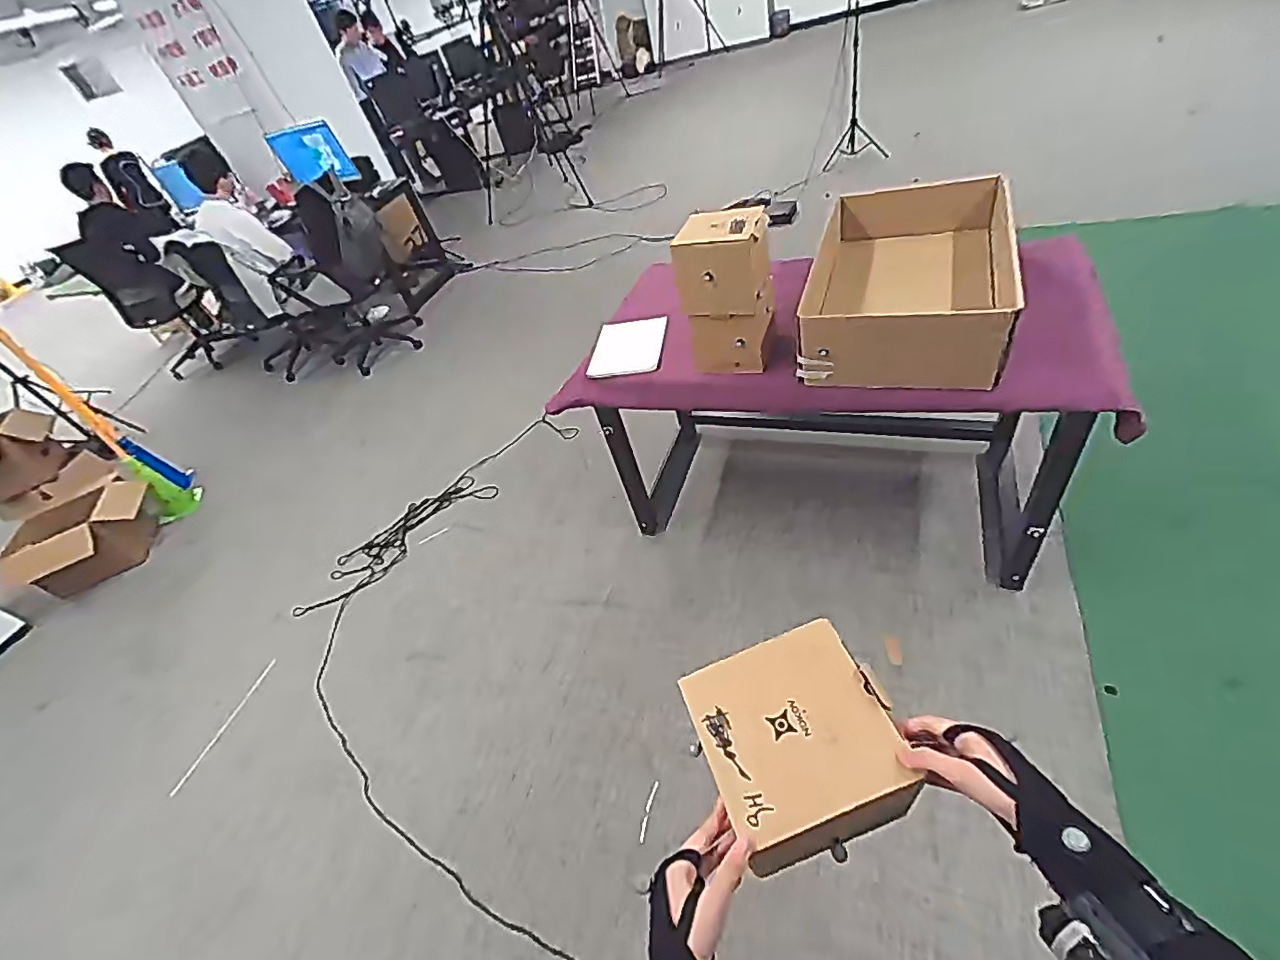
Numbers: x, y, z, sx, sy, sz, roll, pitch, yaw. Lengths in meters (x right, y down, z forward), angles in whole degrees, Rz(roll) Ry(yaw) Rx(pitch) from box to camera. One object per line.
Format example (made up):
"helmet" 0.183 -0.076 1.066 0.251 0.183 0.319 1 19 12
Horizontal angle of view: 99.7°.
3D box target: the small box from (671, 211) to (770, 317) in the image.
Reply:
"small box" 0.190 -0.482 1.223 0.179 0.176 0.168 7 48 24

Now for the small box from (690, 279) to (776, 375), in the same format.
"small box" 0.238 -0.375 1.338 0.168 0.176 0.179 7 48 24

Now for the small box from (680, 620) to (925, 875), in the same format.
"small box" 0.159 0.283 0.570 0.179 0.176 0.168 -21 45 -2
